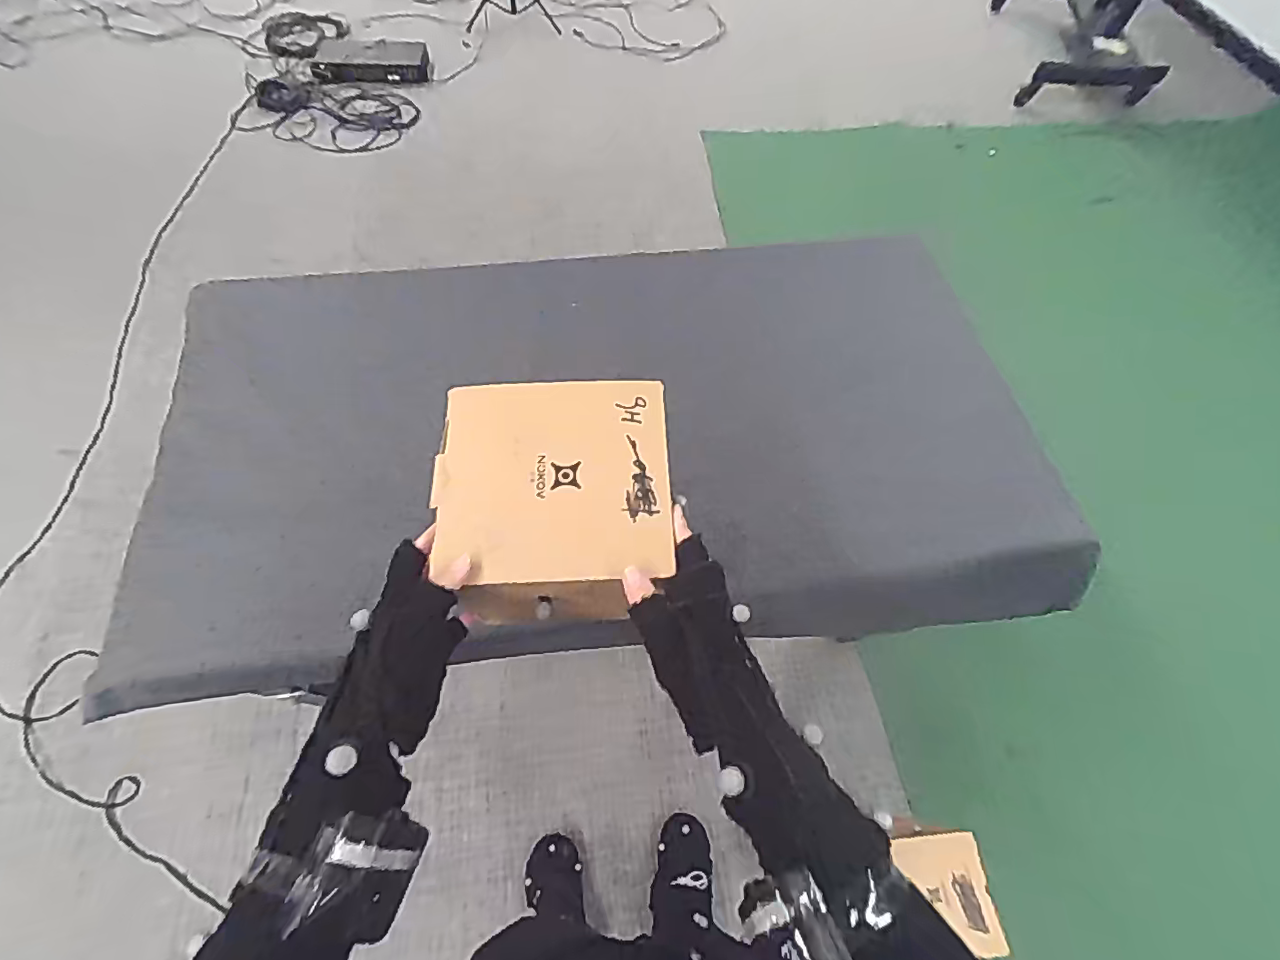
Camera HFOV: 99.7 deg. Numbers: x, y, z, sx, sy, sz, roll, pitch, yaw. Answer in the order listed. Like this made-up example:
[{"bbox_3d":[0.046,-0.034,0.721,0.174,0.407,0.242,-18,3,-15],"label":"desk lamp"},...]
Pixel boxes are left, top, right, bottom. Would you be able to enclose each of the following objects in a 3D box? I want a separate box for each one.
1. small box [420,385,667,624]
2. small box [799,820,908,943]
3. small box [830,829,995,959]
[{"bbox_3d":[-0.067,0.032,0.479,0.179,0.176,0.168,-1,66,0],"label":"small box"},{"bbox_3d":[0.443,0.793,1.085,0.179,0.176,0.168,-4,61,-5],"label":"small box"},{"bbox_3d":[0.458,0.716,0.940,0.179,0.176,0.168,-2,61,-4],"label":"small box"}]
